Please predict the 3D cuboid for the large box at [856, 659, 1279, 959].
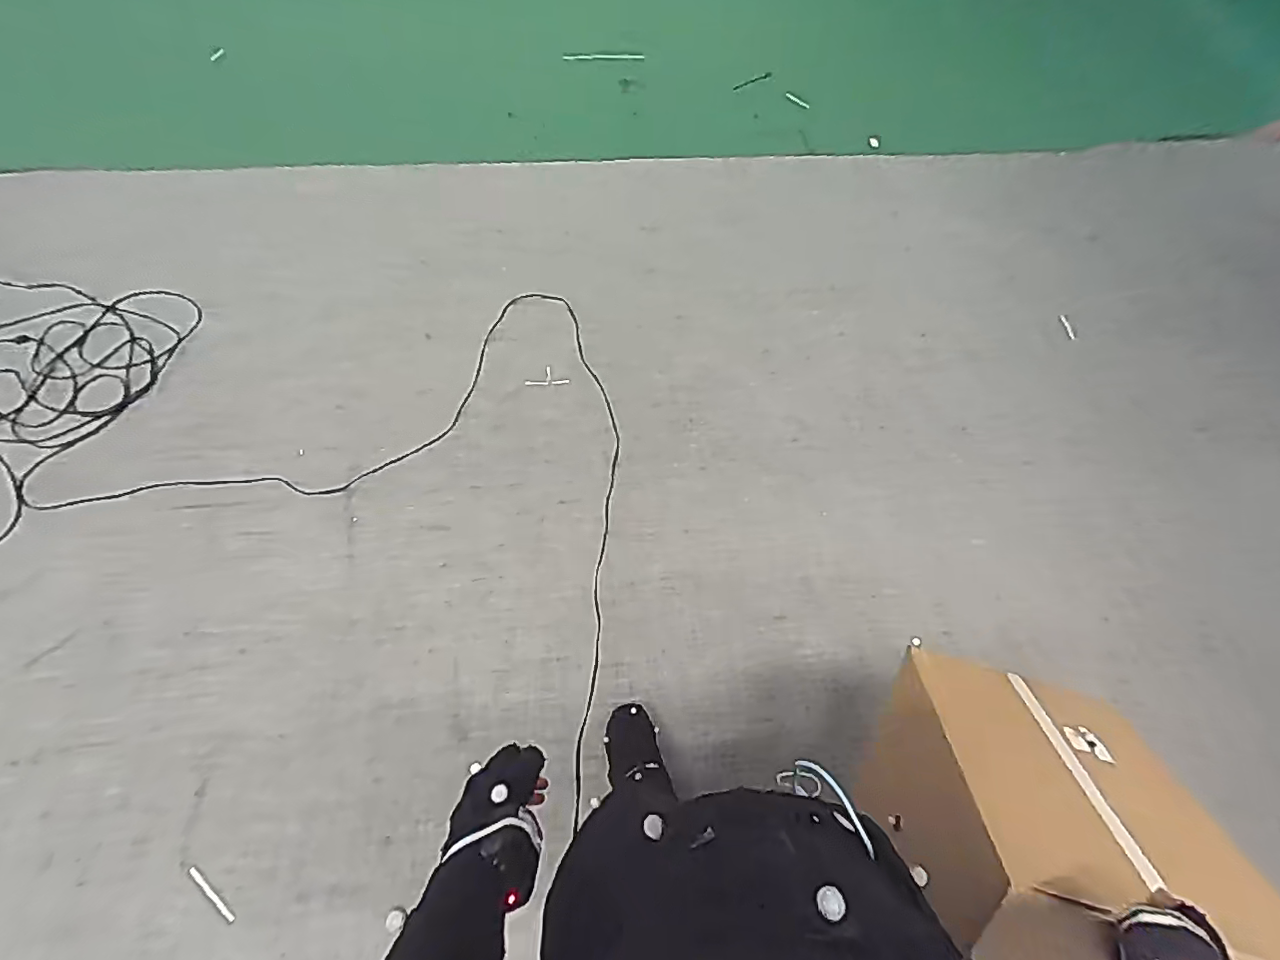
[{"bbox_3d":[0.517,0.520,0.722,0.320,0.408,0.320,16,108,8],"label":"large box"}]
